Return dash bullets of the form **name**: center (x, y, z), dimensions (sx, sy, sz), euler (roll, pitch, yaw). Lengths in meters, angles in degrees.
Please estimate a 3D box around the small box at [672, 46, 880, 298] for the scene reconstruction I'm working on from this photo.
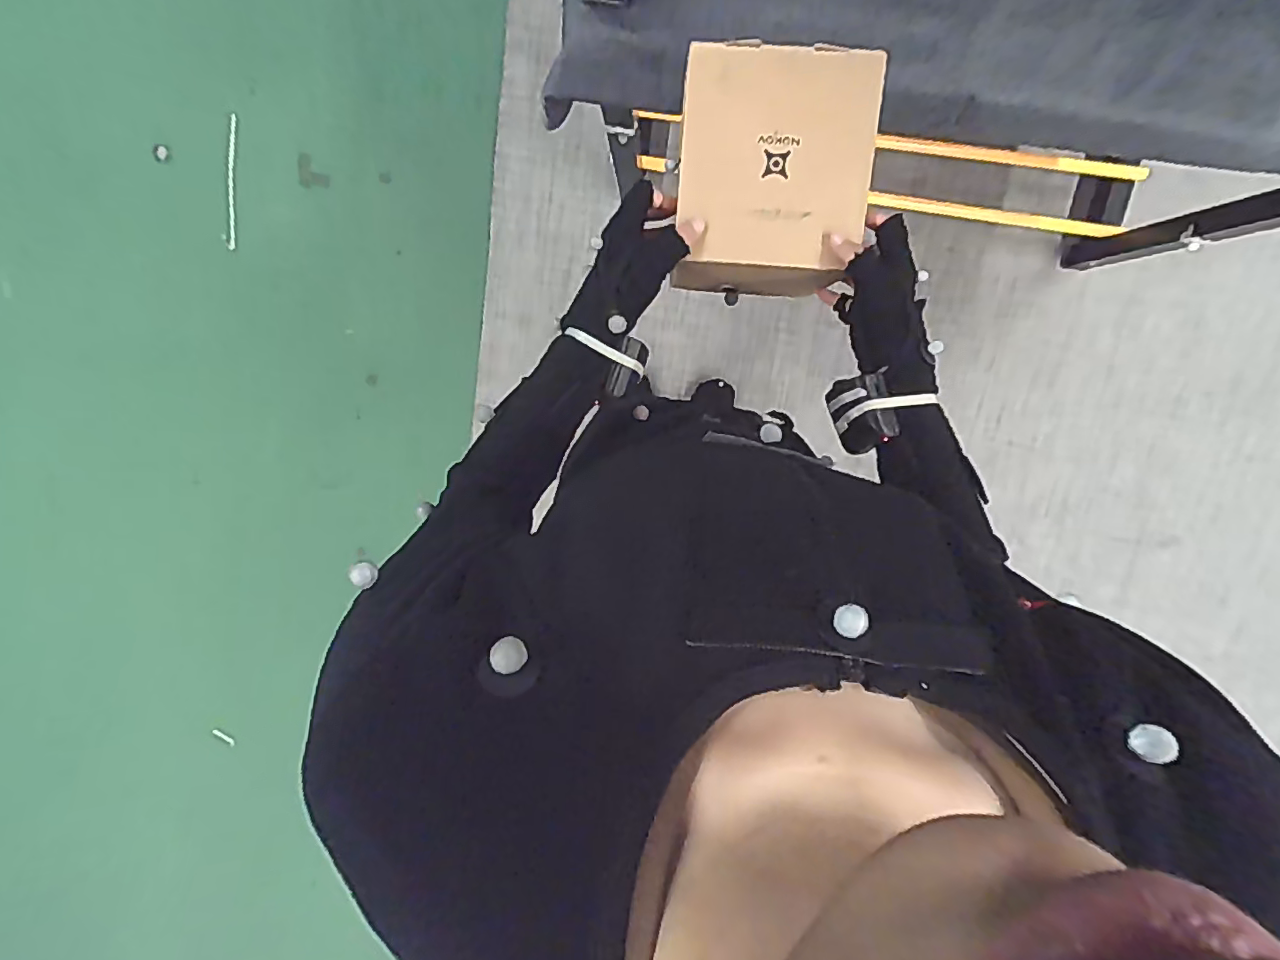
- **small box**: center (0.121, -0.294, 0.553), dimensions (0.168, 0.176, 0.179), euler (4, 101, 2)
